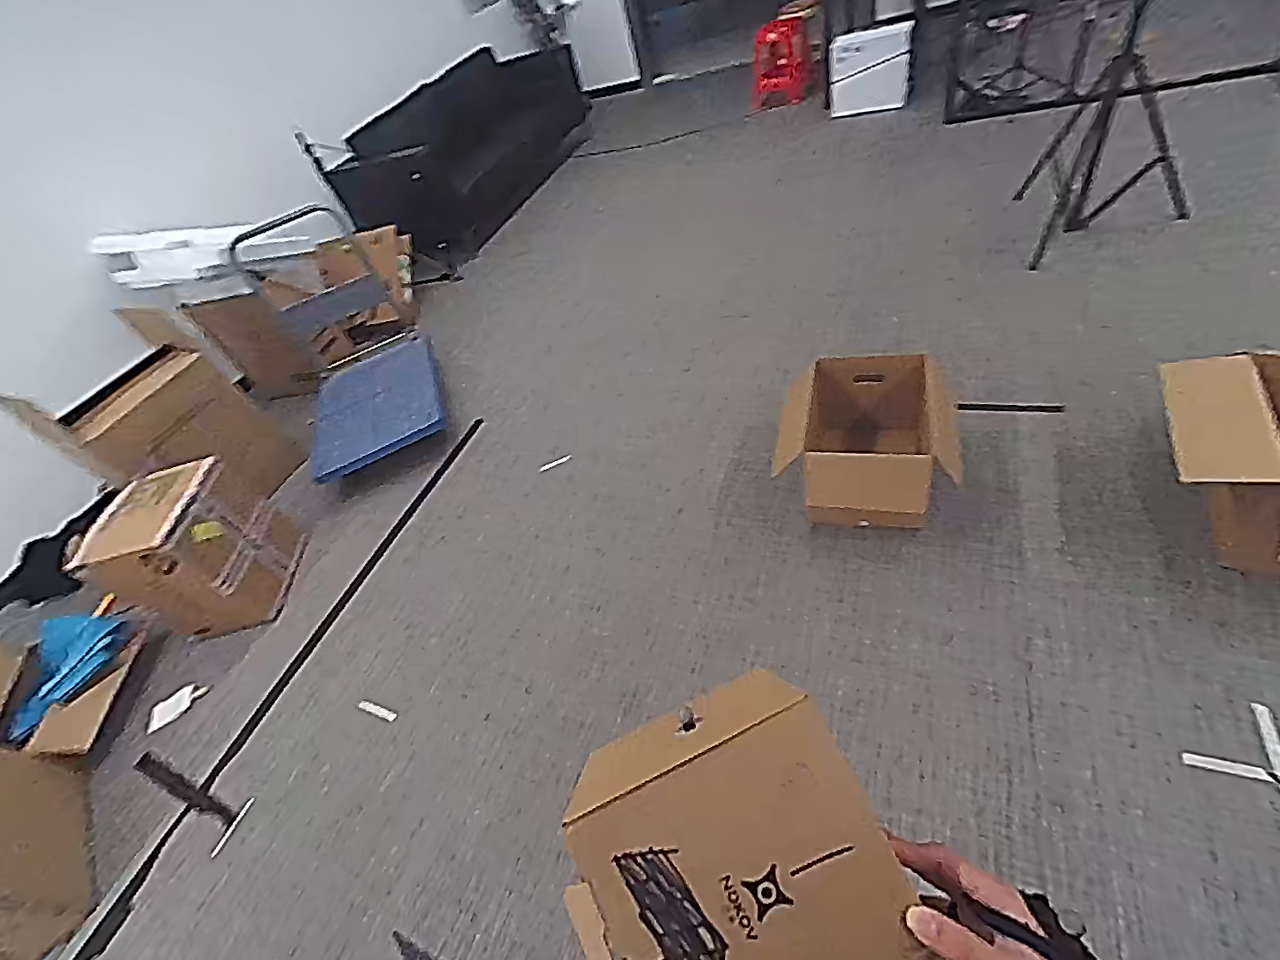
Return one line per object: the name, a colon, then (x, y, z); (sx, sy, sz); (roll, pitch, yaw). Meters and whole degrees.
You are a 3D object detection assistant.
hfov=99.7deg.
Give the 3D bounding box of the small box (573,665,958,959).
small box: (0.071, 0.252, 0.392); (0.179, 0.176, 0.168); (-24, 78, -5)
